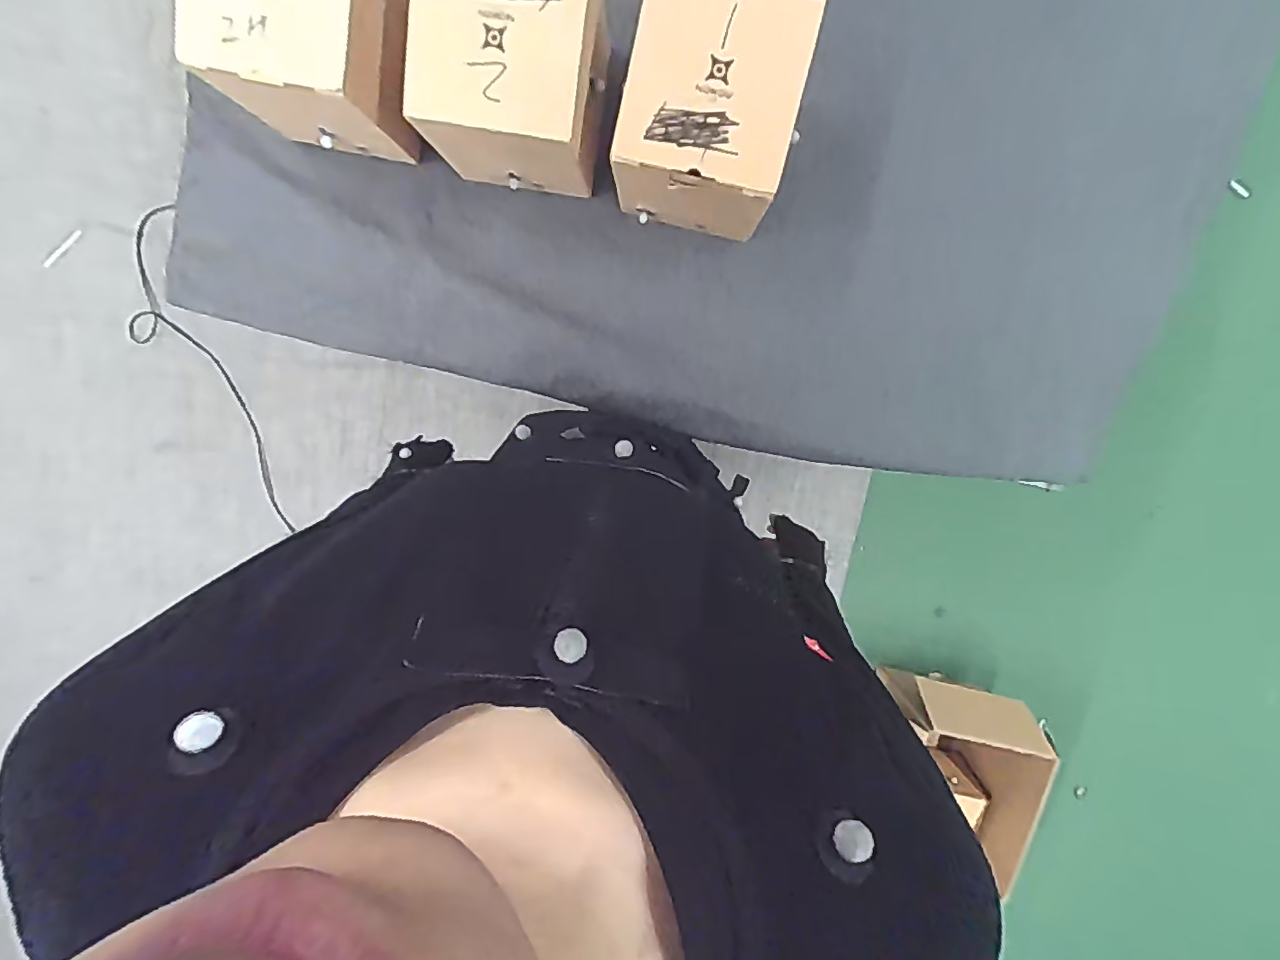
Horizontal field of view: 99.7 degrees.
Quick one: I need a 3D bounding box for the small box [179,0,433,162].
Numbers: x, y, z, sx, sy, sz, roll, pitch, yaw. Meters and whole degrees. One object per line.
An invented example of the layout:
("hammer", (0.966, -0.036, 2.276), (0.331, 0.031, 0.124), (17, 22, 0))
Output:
("small box", (-0.339, -0.481, 0.581), (0.168, 0.176, 0.179), (11, 100, 0))
